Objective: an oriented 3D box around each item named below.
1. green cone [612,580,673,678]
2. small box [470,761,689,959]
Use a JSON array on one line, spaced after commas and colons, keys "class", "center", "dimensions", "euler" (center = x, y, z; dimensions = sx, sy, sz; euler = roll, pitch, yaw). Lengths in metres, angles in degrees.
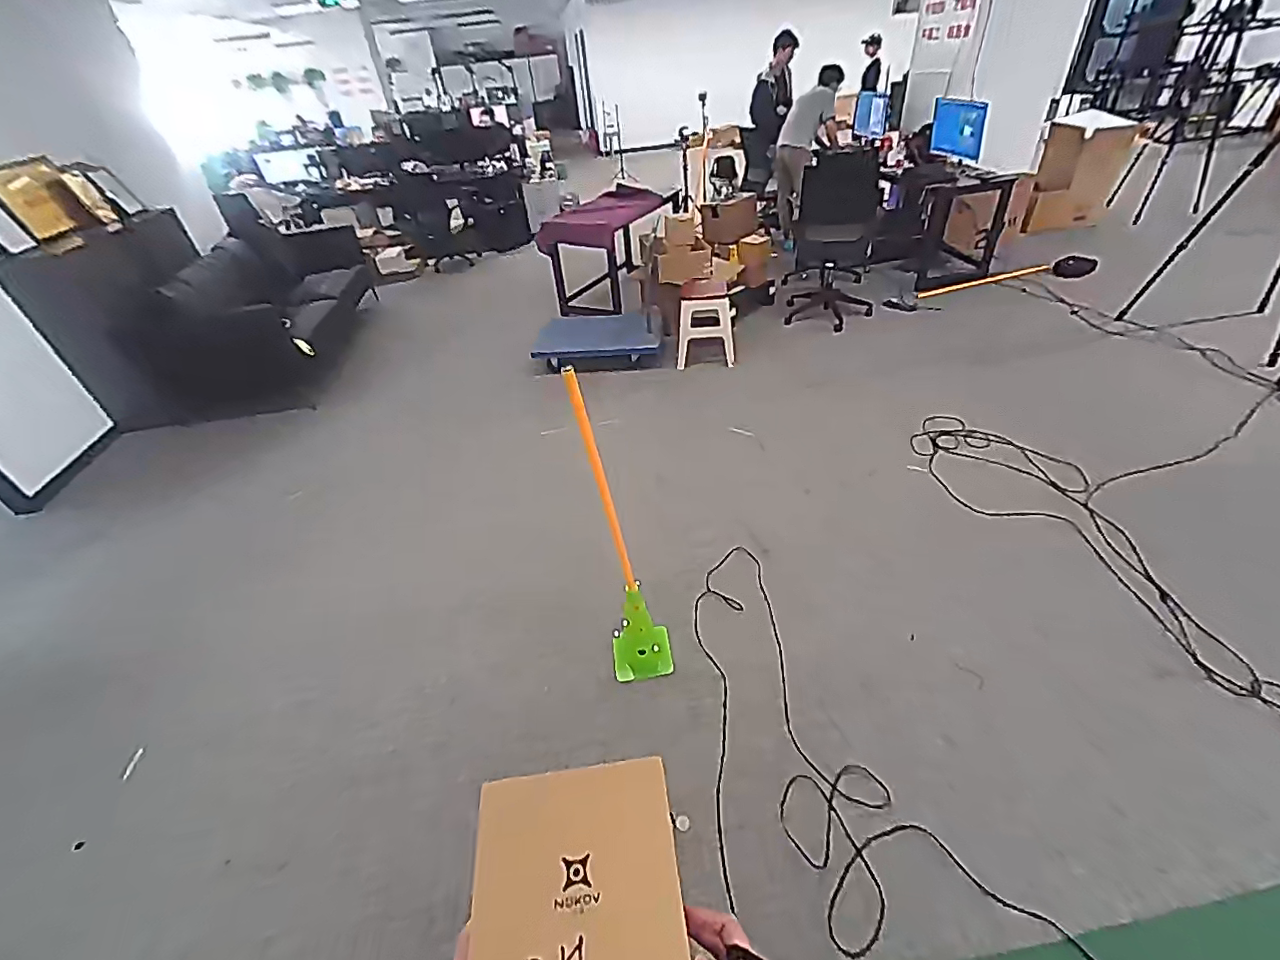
[{"class": "green cone", "center": [-0.005, 0.474, 1.814], "dimensions": [0.202, 0.368, 0.200], "euler": [-7, 39, -3]}, {"class": "small box", "center": [-0.046, 0.385, 0.491], "dimensions": [0.168, 0.176, 0.179], "euler": [-7, 45, -2]}]
